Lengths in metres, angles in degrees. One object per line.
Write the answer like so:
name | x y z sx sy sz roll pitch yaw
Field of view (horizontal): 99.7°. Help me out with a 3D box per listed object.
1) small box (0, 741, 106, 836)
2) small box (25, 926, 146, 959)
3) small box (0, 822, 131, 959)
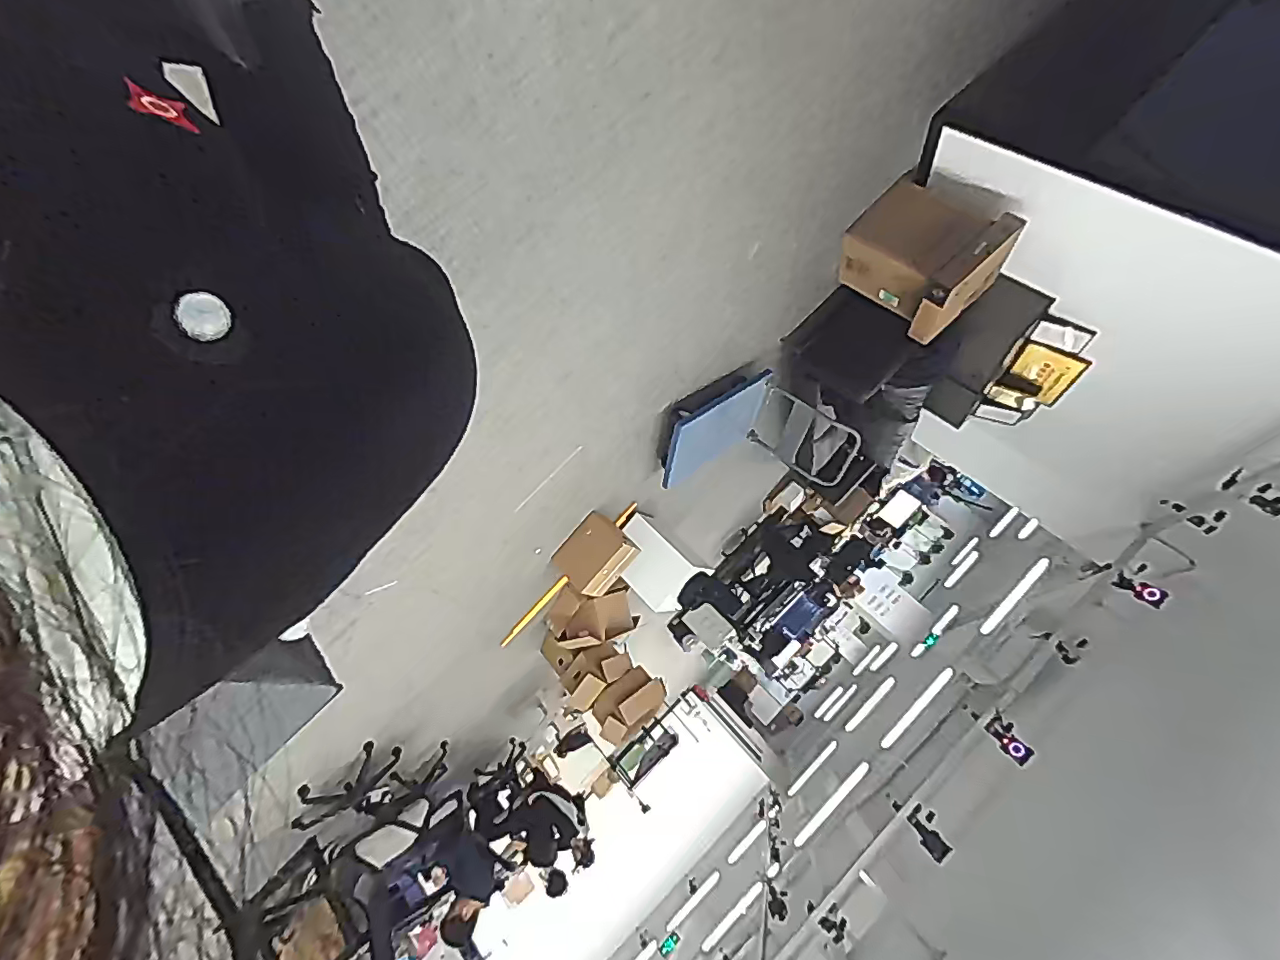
small box | -0.965 0.508 0.796 0.179 0.176 0.168 -44 155 -5
small box | -0.746 0.706 0.656 0.168 0.176 0.179 -44 155 -7
small box | -0.857 0.608 0.727 0.179 0.176 0.168 -45 155 -6
